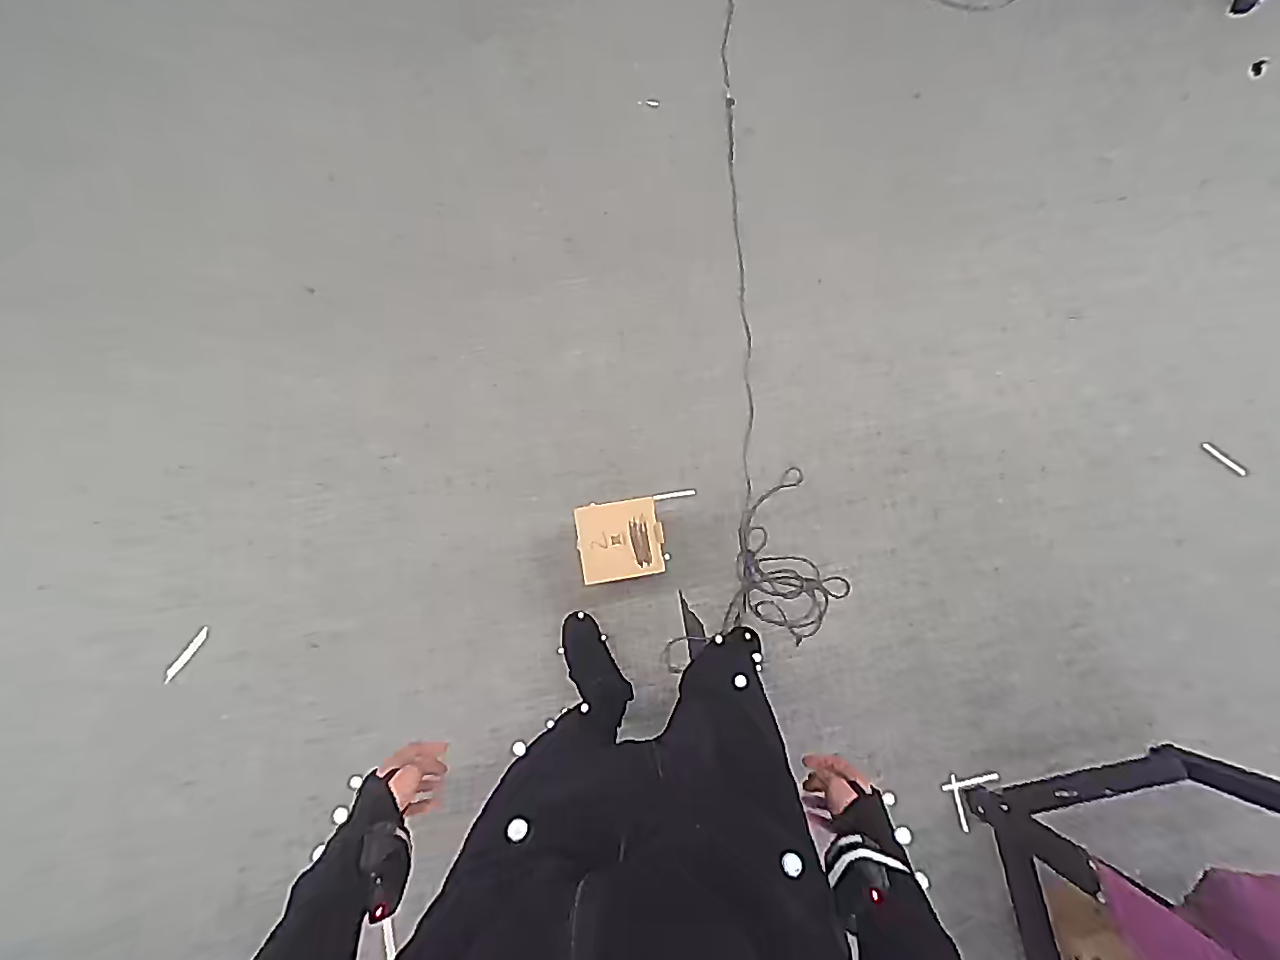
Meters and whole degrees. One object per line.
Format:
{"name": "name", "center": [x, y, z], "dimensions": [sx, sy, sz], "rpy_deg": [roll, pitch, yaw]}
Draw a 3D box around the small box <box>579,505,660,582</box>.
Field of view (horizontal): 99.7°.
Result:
{"name": "small box", "center": [-0.049, 0.166, 1.381], "dimensions": [0.179, 0.176, 0.168], "rpy_deg": [-11, 82, -3]}
